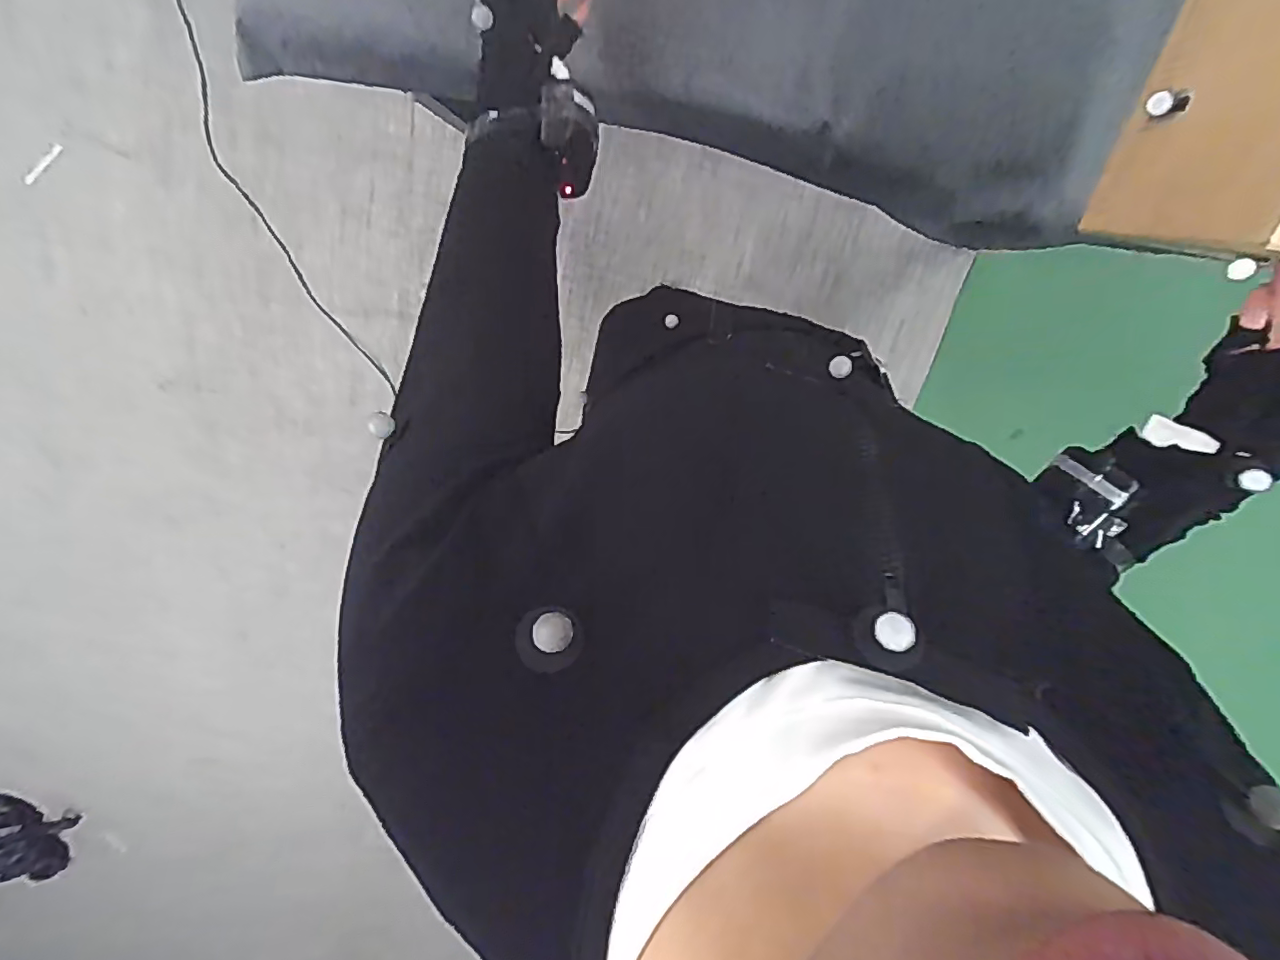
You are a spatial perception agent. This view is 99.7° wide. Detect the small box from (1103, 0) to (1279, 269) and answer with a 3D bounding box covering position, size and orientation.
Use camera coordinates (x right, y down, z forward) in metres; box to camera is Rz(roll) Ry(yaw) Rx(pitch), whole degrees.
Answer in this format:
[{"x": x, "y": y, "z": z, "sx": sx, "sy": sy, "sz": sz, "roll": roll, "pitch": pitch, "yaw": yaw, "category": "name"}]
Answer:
[{"x": 0.467, "y": -0.234, "z": 0.354, "sx": 0.168, "sy": 0.176, "sz": 0.179, "roll": 8, "pitch": 118, "yaw": -2, "category": "small box"}]
